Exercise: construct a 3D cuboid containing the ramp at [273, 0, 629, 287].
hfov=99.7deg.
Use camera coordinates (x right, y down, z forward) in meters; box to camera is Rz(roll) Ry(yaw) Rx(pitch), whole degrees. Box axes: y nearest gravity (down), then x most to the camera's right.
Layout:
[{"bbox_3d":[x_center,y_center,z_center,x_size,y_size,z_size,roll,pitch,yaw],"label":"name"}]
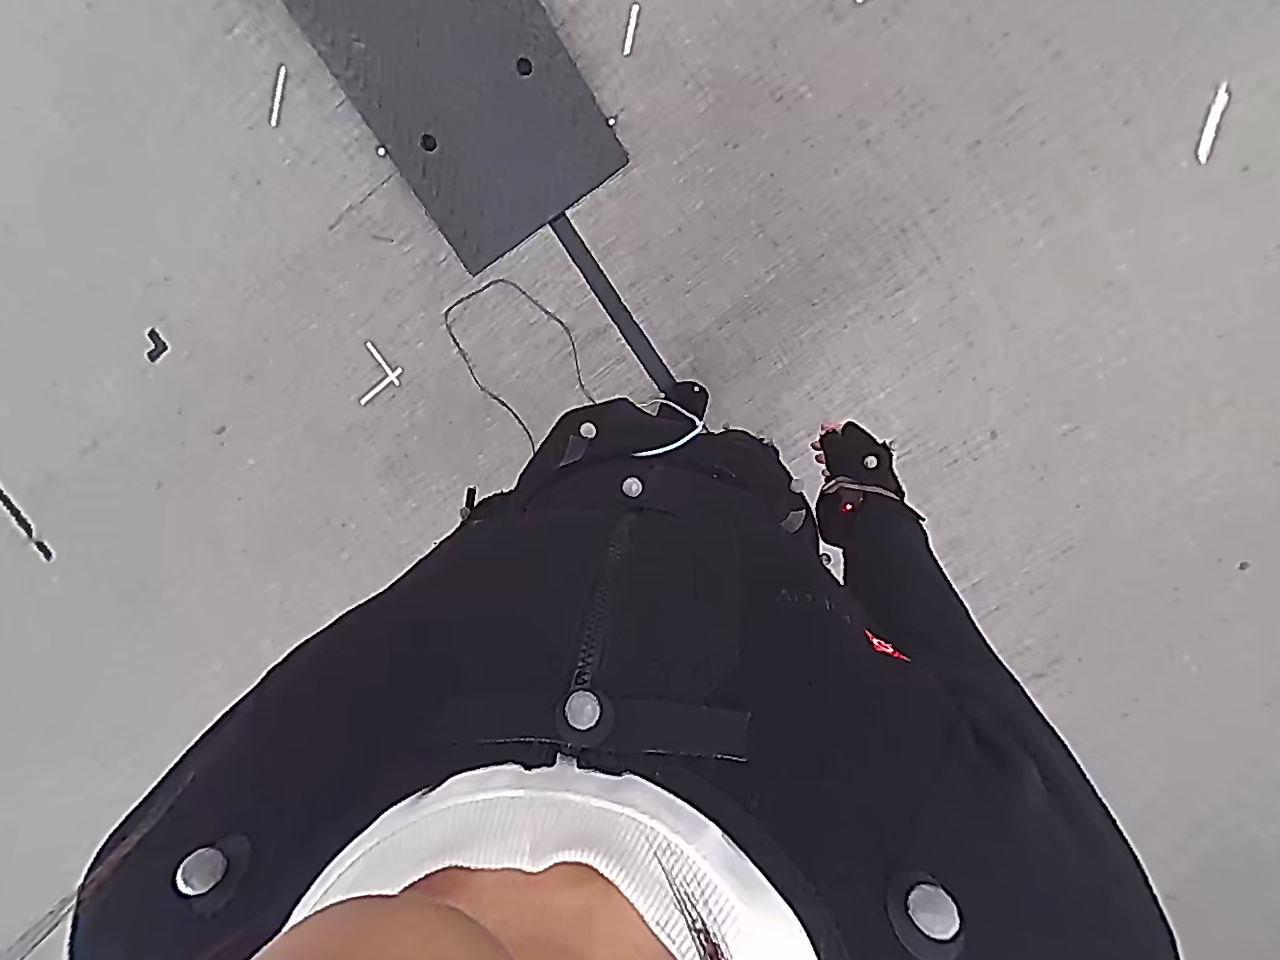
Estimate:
[{"bbox_3d":[-0.493,-1.026,1.264,0.509,0.206,0.991,-35,94,9],"label":"ramp"}]
